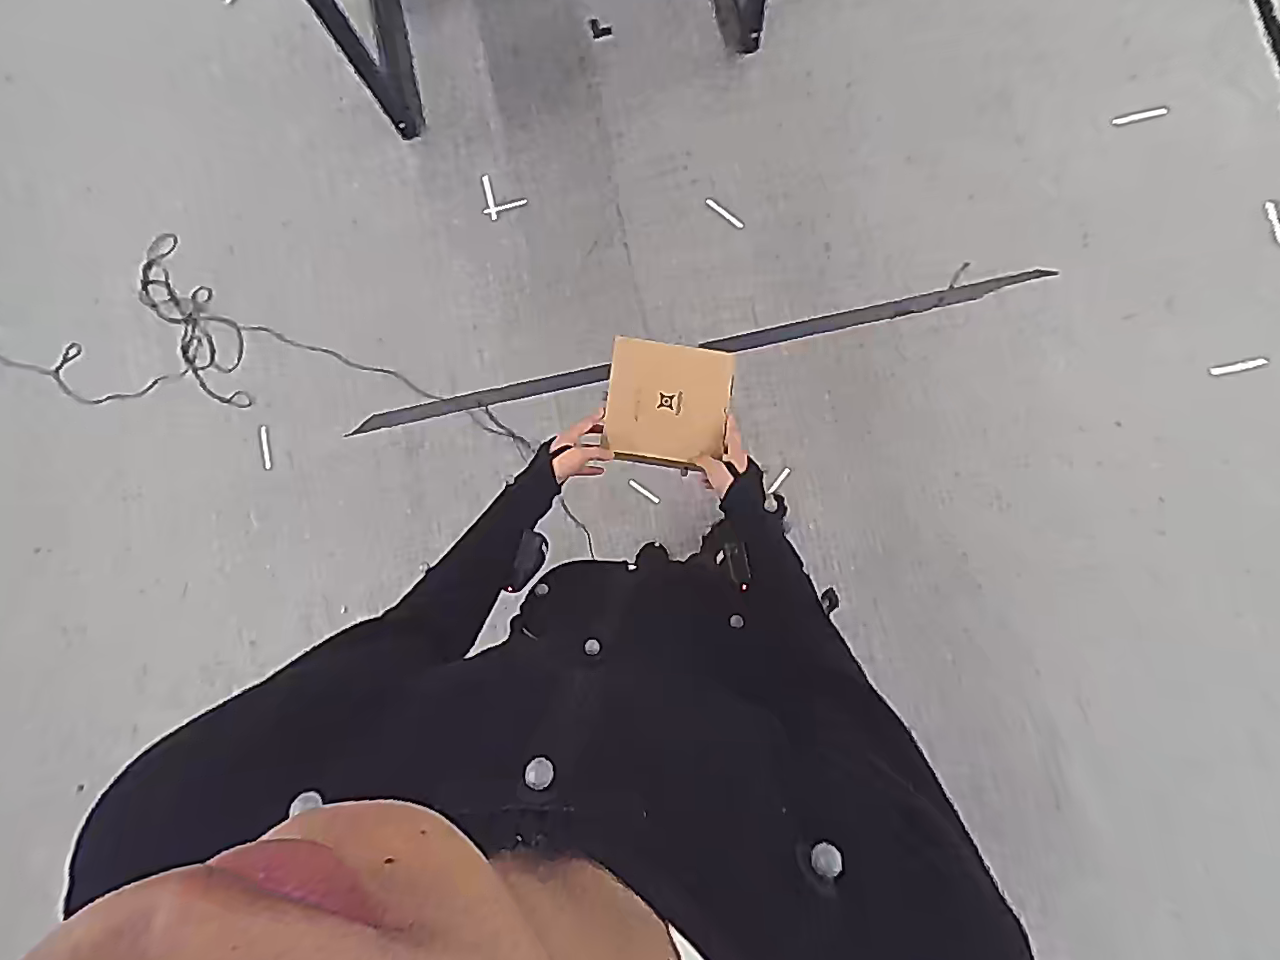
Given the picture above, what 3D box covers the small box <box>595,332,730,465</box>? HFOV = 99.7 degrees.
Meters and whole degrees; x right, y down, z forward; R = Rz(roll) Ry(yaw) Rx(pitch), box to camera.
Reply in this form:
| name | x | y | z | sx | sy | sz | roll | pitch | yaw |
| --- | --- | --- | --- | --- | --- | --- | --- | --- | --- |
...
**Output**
| name | x | y | z | sx | sy | sz | roll | pitch | yaw |
| --- | --- | --- | --- | --- | --- | --- | --- | --- | --- |
| small box | 0.029 | -0.114 | 0.835 | 0.179 | 0.176 | 0.168 | 6 | 88 | -2 |
